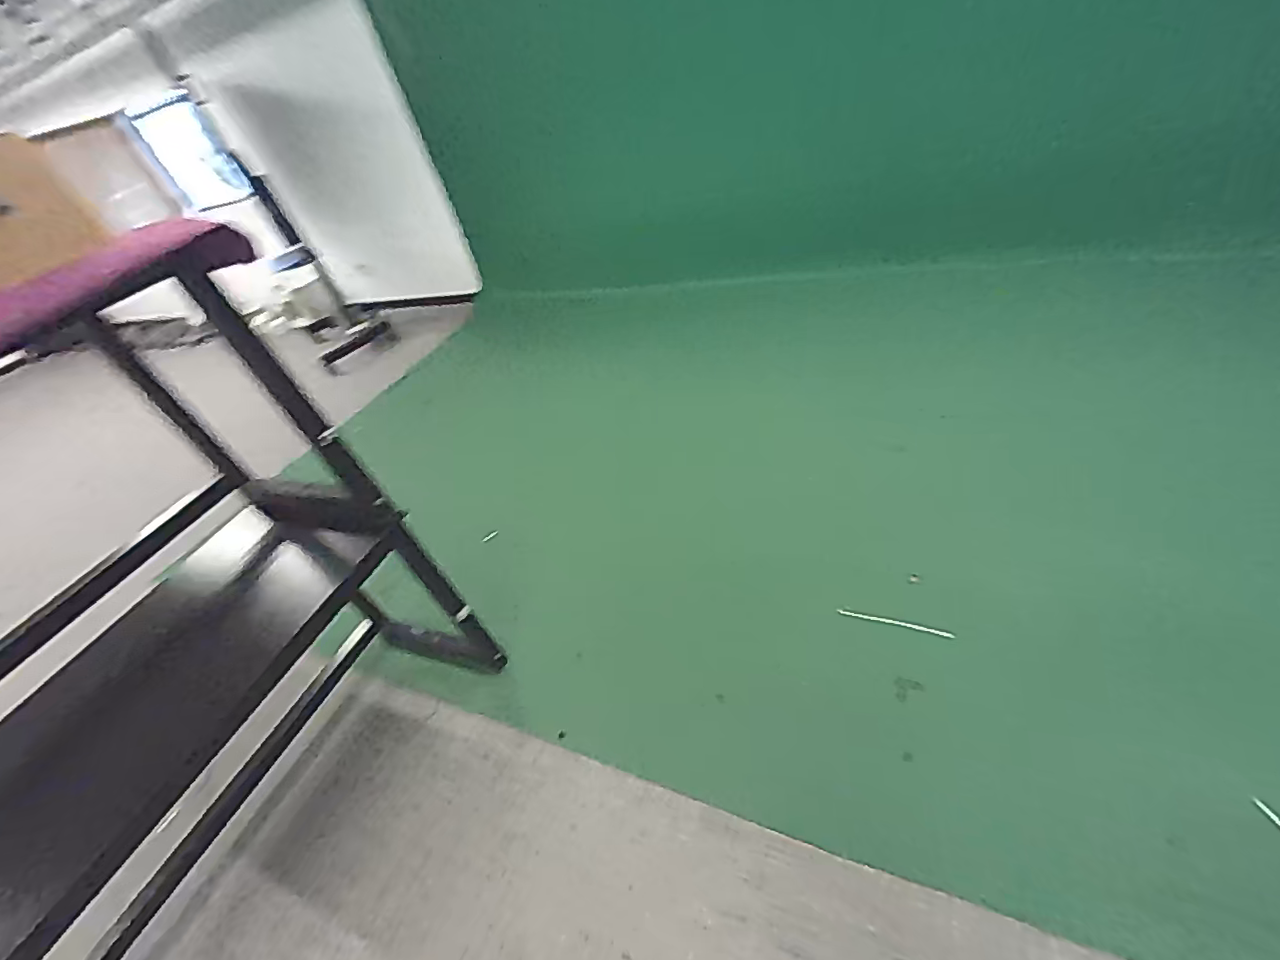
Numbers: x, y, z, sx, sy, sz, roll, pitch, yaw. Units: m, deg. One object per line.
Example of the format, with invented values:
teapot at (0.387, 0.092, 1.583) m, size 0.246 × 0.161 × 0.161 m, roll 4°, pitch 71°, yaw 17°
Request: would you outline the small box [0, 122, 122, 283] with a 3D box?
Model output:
small box at (-0.964, -0.419, 0.831) m, size 0.168 × 0.176 × 0.179 m, roll 6°, pitch 47°, yaw 26°
